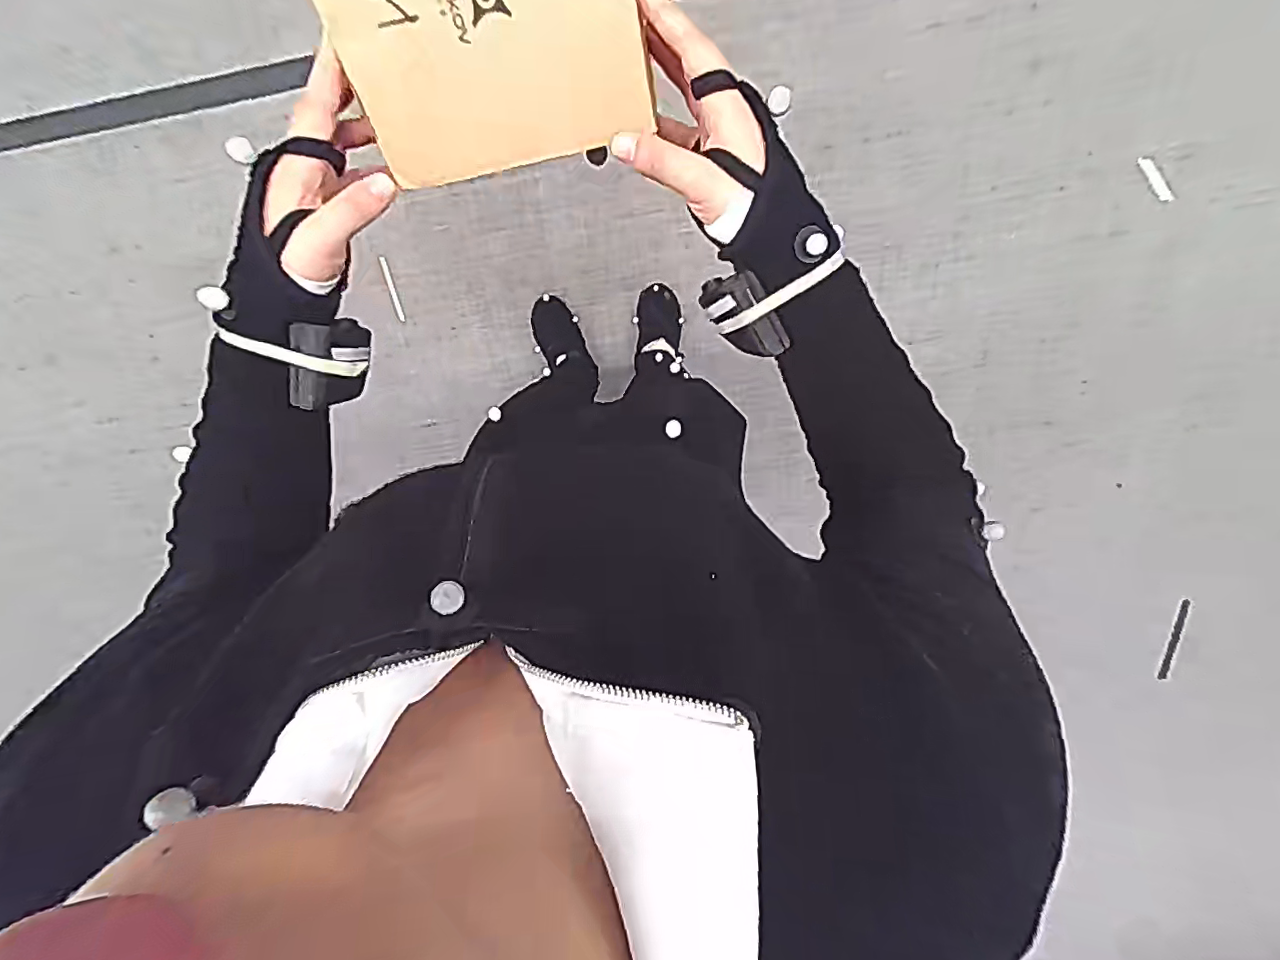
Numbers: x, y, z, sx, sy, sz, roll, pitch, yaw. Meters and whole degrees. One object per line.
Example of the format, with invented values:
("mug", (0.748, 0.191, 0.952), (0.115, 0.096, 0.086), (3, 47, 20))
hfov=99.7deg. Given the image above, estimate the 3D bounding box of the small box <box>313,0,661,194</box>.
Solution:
("small box", (-0.084, -0.311, 0.344), (0.179, 0.176, 0.168), (-6, 134, 10))
